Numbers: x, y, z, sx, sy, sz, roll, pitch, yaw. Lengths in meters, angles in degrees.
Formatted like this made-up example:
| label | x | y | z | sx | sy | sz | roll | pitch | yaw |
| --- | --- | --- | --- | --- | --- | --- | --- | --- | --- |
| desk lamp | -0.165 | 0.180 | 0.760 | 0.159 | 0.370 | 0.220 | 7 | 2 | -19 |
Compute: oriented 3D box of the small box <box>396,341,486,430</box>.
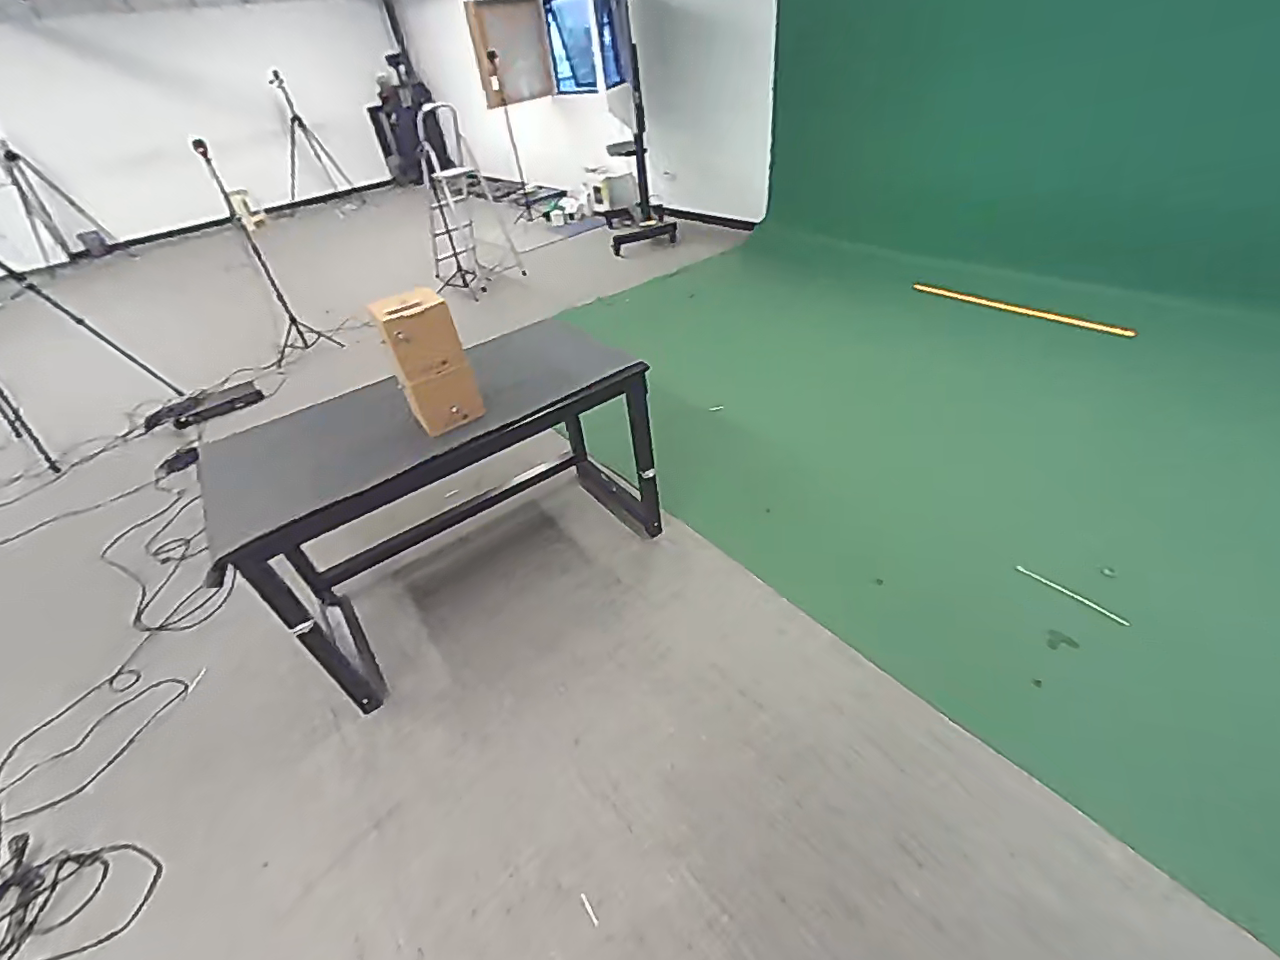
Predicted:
| label | x | y | z | sx | sy | sz | roll | pitch | yaw |
| --- | --- | --- | --- | --- | --- | --- | --- | --- | --- |
| small box | -0.557 | -0.266 | 1.522 | 0.168 | 0.176 | 0.179 | -29 | 43 | -22 |
